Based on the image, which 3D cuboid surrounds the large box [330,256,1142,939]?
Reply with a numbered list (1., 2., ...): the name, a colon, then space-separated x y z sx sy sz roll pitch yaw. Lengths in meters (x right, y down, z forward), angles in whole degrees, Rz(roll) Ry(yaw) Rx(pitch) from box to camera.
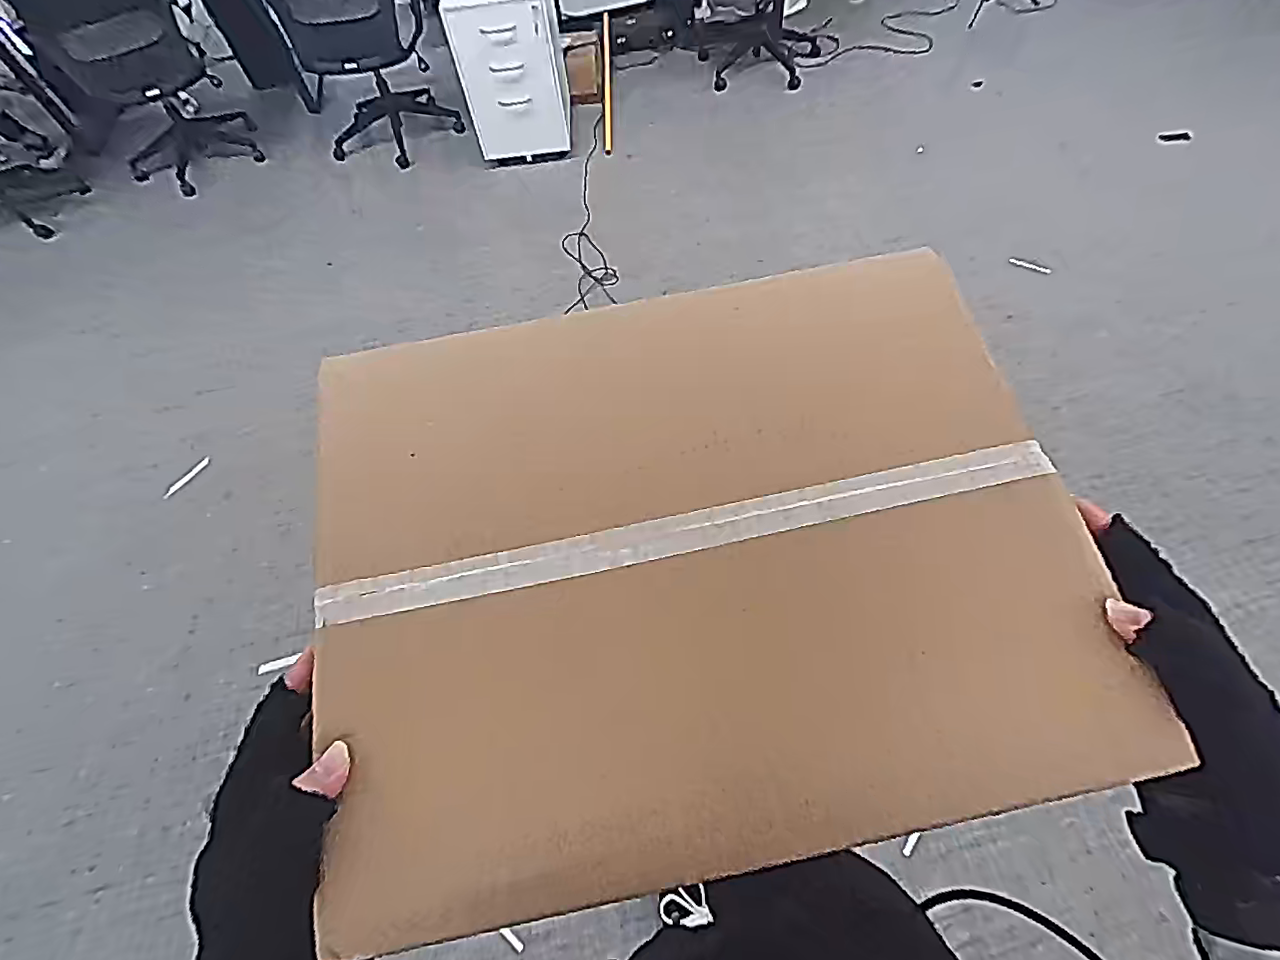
1. large box: 0.032 0.079 0.446 0.408 0.320 0.320 -12 70 -2
